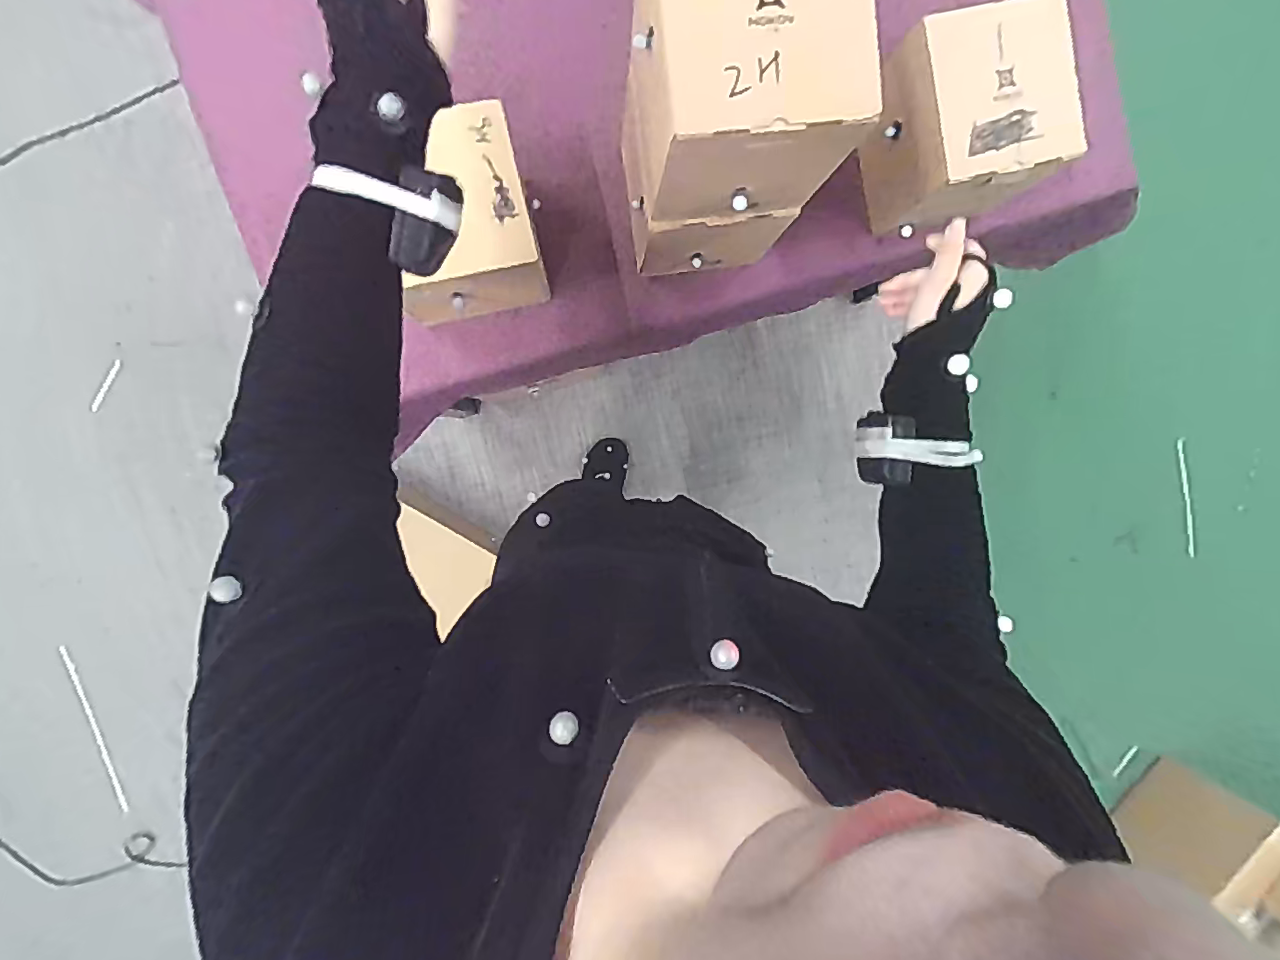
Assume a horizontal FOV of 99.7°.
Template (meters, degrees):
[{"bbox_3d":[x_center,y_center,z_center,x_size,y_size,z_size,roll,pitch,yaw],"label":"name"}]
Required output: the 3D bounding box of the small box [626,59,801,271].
[{"bbox_3d":[0.077,-0.371,0.650,0.168,0.176,0.179,-8,97,-4],"label":"small box"}]

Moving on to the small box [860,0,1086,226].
[{"bbox_3d":[0.392,-0.434,0.666,0.168,0.176,0.179,-13,96,-3],"label":"small box"}]

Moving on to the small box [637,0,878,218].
[{"bbox_3d":[0.090,-0.362,0.486,0.168,0.176,0.179,-7,96,-3],"label":"small box"}]

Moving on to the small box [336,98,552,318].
[{"bbox_3d":[-0.211,-0.299,0.633,0.179,0.176,0.168,-13,97,-3],"label":"small box"}]
